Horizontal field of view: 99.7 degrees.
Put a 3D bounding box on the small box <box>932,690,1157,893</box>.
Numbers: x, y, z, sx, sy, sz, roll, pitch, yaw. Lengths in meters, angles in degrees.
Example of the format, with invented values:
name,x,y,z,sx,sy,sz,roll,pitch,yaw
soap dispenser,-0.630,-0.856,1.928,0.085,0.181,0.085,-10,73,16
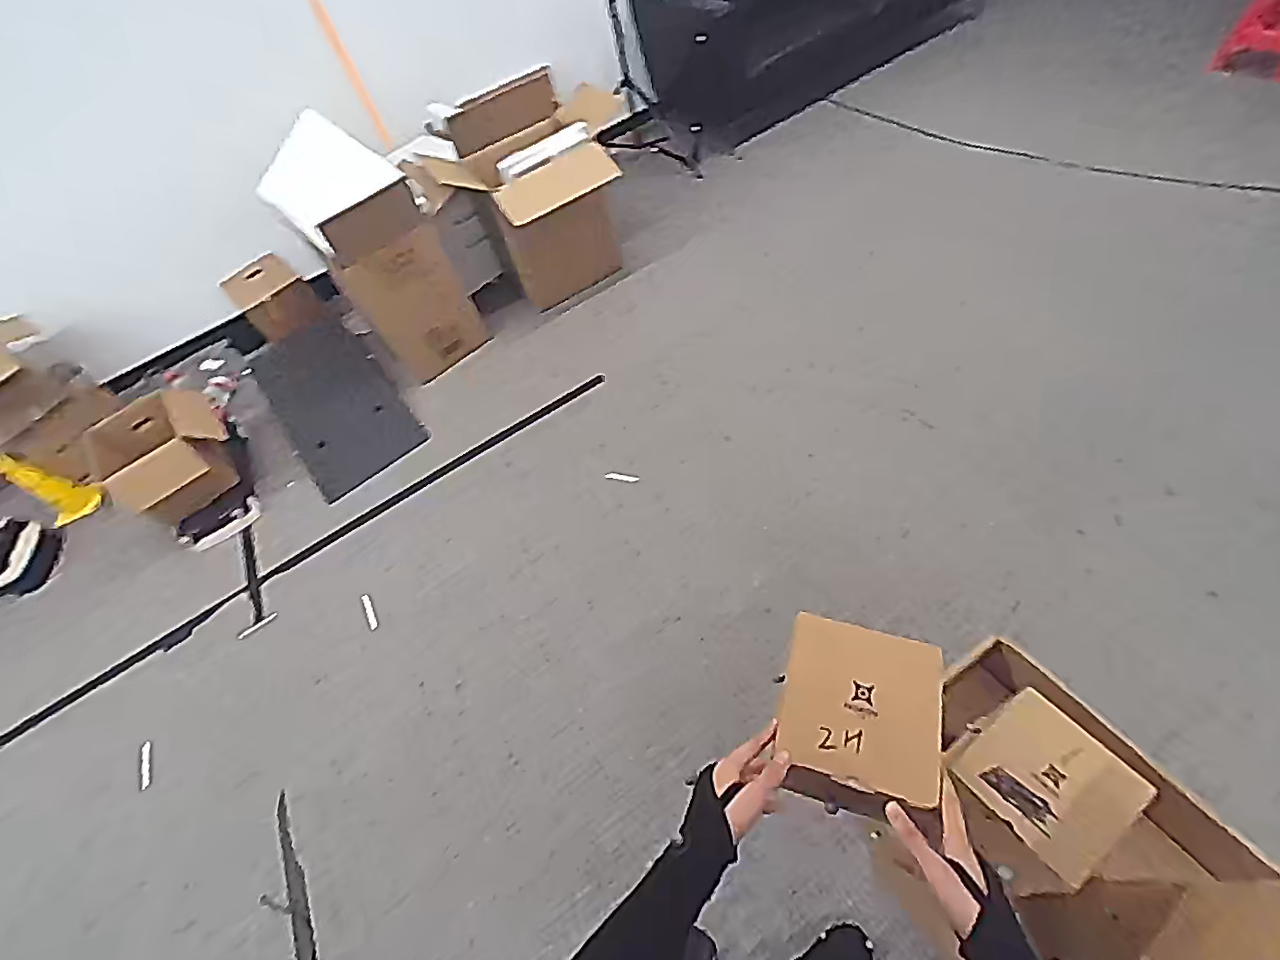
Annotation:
name,x,y,z,sx,sy,sz,roll,pitch,yaw
small box,0.538,0.434,0.752,0.179,0.176,0.168,-35,54,-14

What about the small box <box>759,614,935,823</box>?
name,x,y,z,sx,sy,sz,roll,pitch,yaw
small box,0.246,0.295,0.665,0.168,0.176,0.179,11,56,15
